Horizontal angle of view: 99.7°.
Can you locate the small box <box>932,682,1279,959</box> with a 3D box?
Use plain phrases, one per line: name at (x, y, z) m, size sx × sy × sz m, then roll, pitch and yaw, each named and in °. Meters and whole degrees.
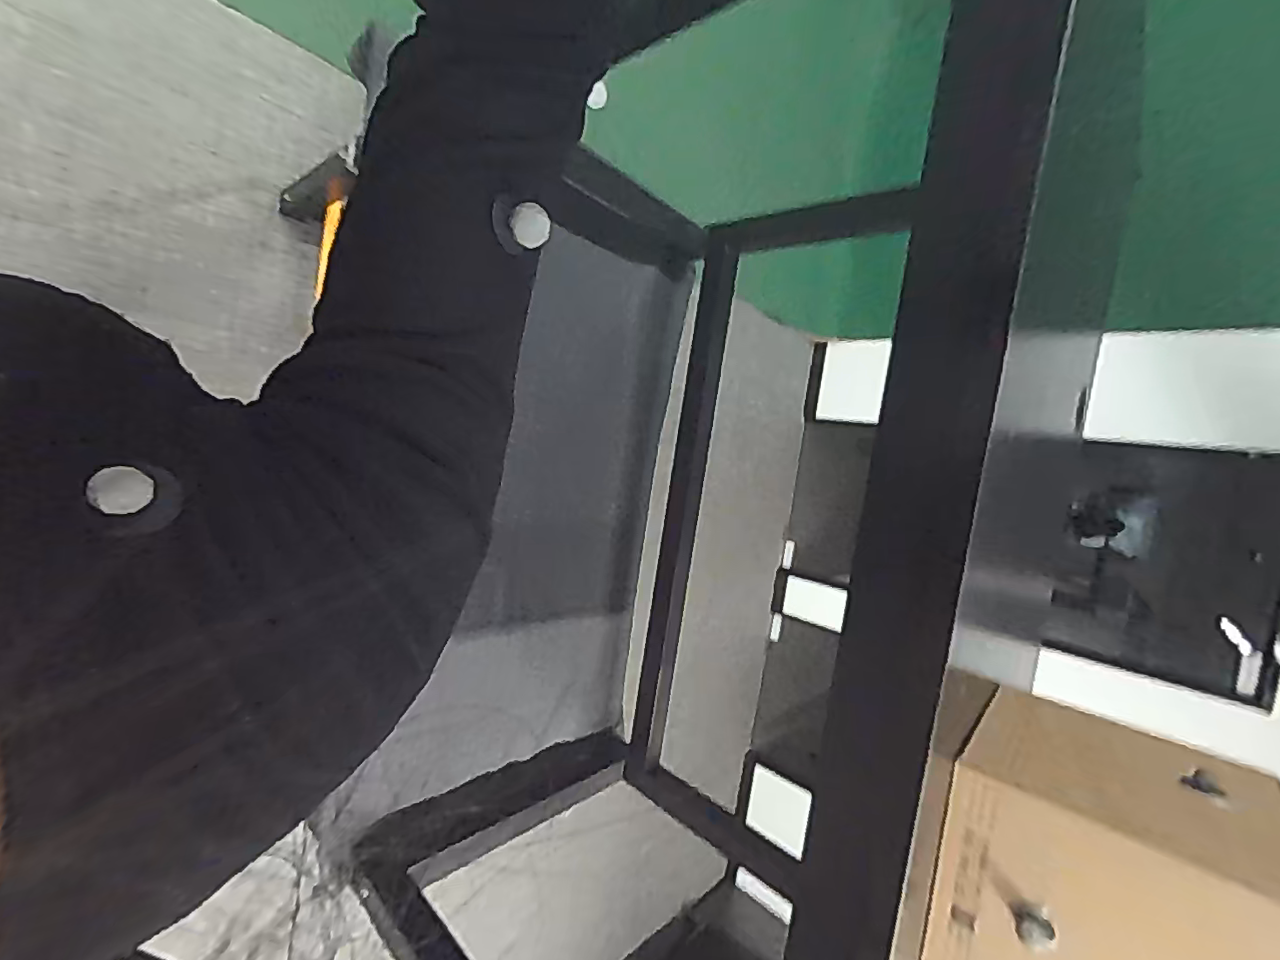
small box at (0.326, 0.266, 0.376) m, size 0.179 × 0.176 × 0.168 m, roll -2°, pitch 99°, yaw -48°
